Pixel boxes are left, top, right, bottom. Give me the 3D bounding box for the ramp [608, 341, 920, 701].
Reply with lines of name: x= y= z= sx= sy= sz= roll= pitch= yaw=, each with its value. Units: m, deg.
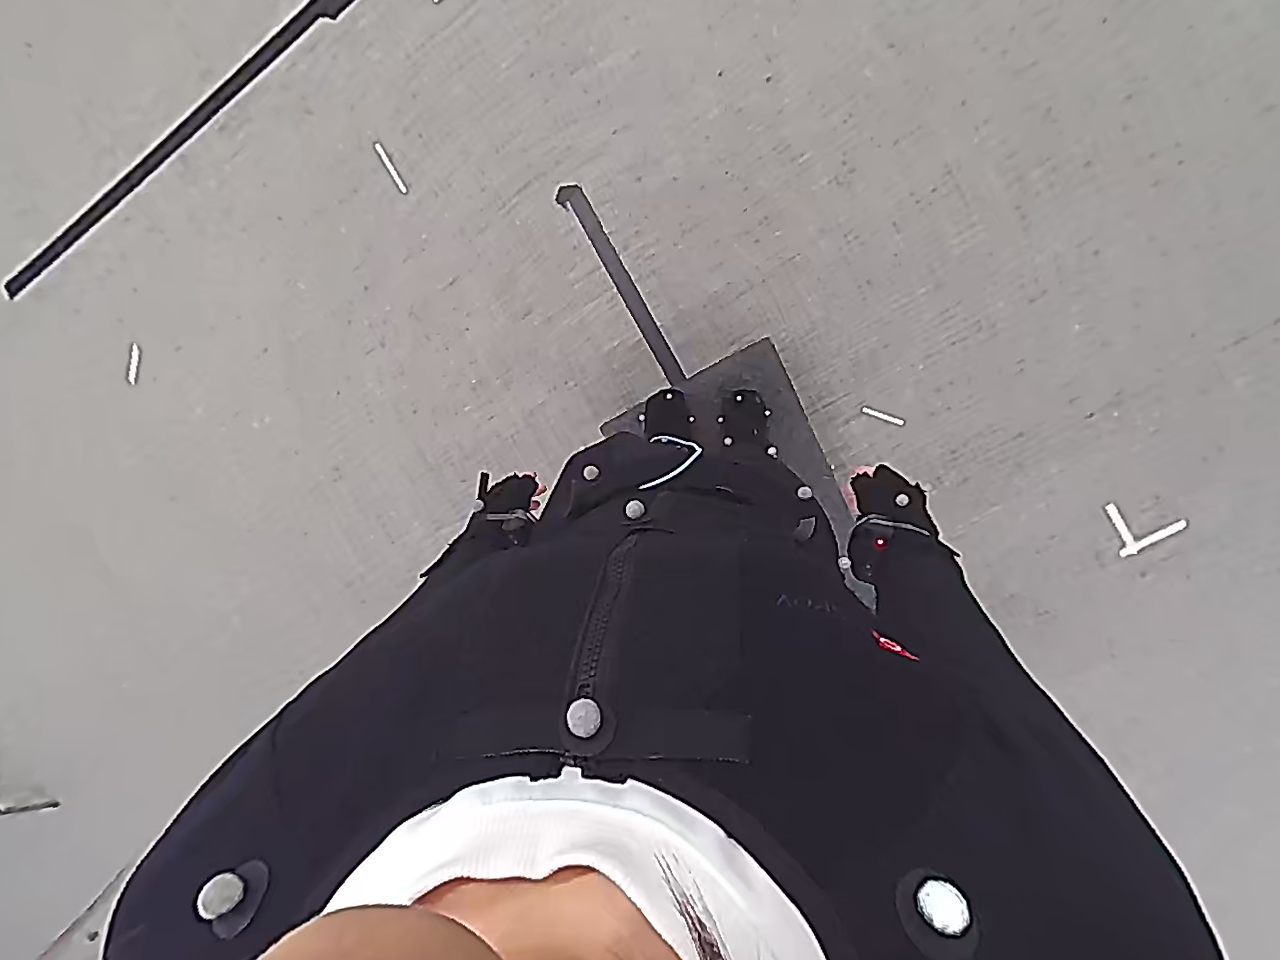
ramp: x=0.372 y=0.168 z=1.512 sx=0.509 sy=0.206 sz=0.991 roll=-30 pitch=95 yaw=10
